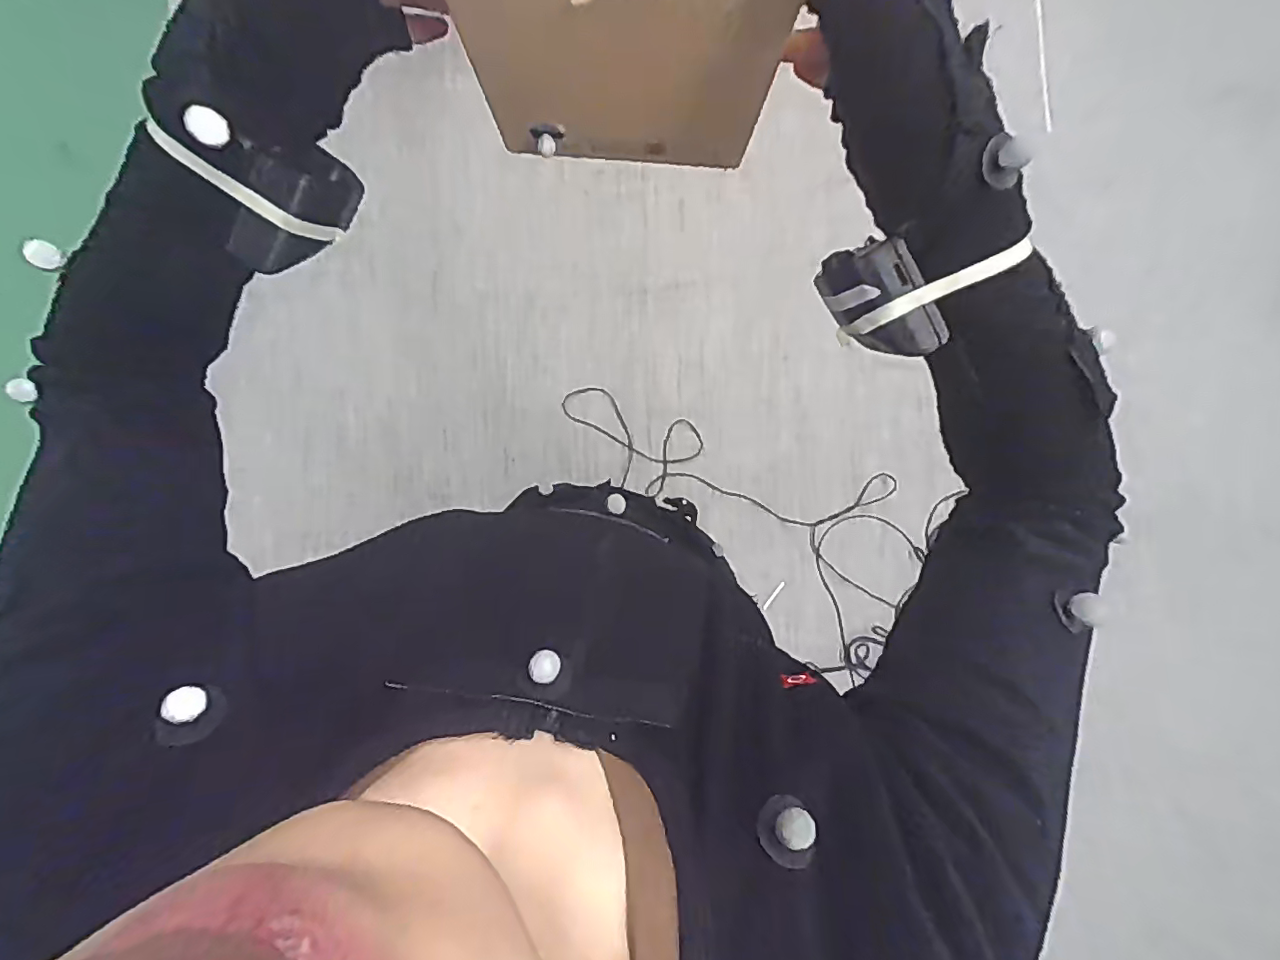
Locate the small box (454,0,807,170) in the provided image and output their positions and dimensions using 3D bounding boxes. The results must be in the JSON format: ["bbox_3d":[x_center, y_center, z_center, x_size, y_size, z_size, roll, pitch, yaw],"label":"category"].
[{"bbox_3d":[0.001,-0.299,0.294,0.168,0.176,0.179,3,93,-2],"label":"small box"}]
